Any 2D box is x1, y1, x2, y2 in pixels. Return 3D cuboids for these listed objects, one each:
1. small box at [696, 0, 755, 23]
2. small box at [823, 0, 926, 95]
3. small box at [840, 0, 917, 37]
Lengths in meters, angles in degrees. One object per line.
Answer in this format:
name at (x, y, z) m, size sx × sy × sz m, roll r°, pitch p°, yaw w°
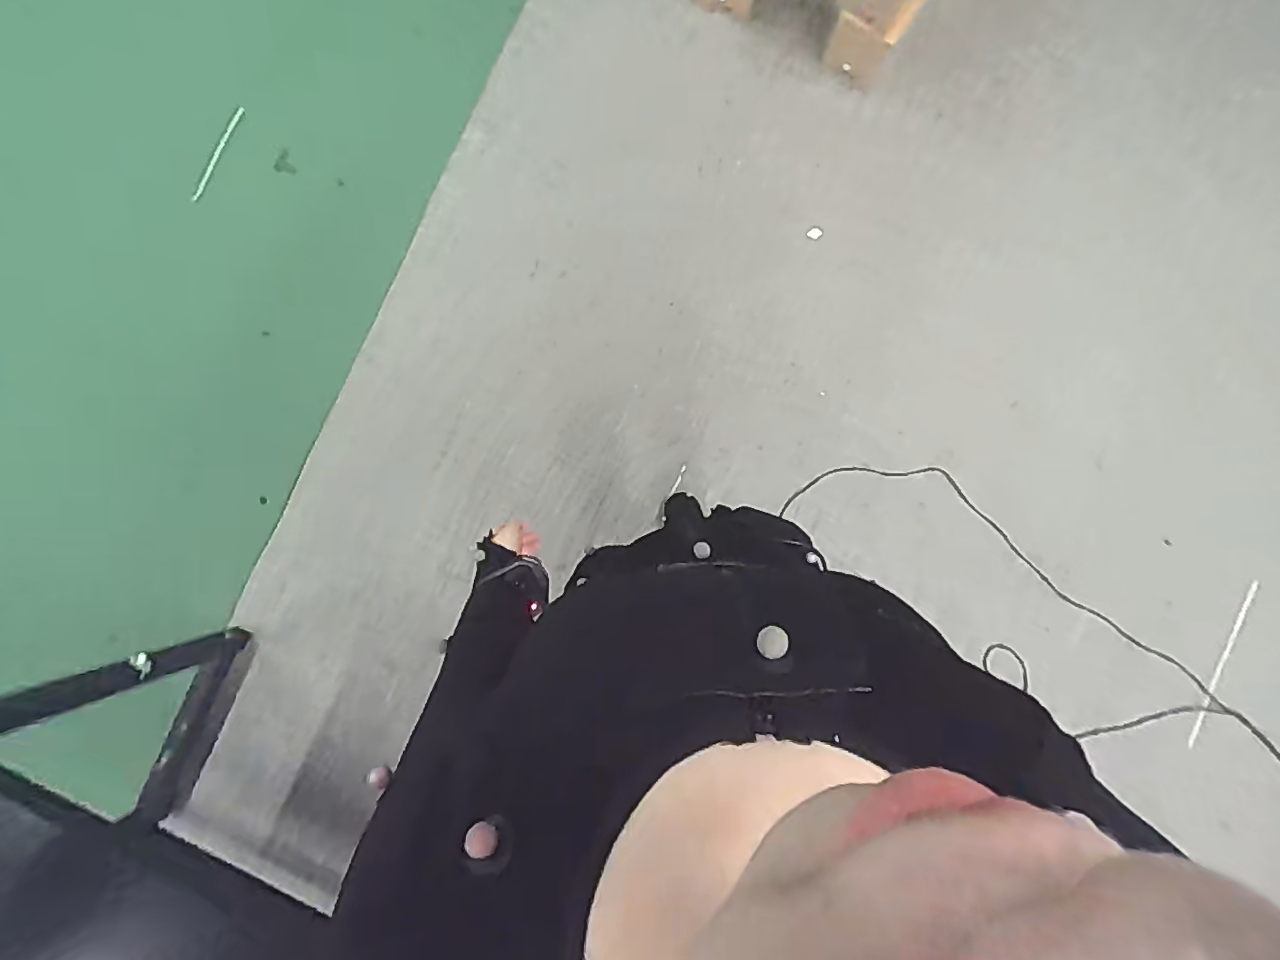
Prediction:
small box at (0.259, -1.431, 1.491) m, size 0.168 × 0.176 × 0.179 m, roll 20°, pitch 88°, yaw 3°
small box at (0.626, -1.211, 1.466) m, size 0.168 × 0.176 × 0.179 m, roll 35°, pitch 89°, yaw 4°
small box at (0.609, -1.239, 1.306) m, size 0.168 × 0.176 × 0.179 m, roll 39°, pitch 89°, yaw 4°
